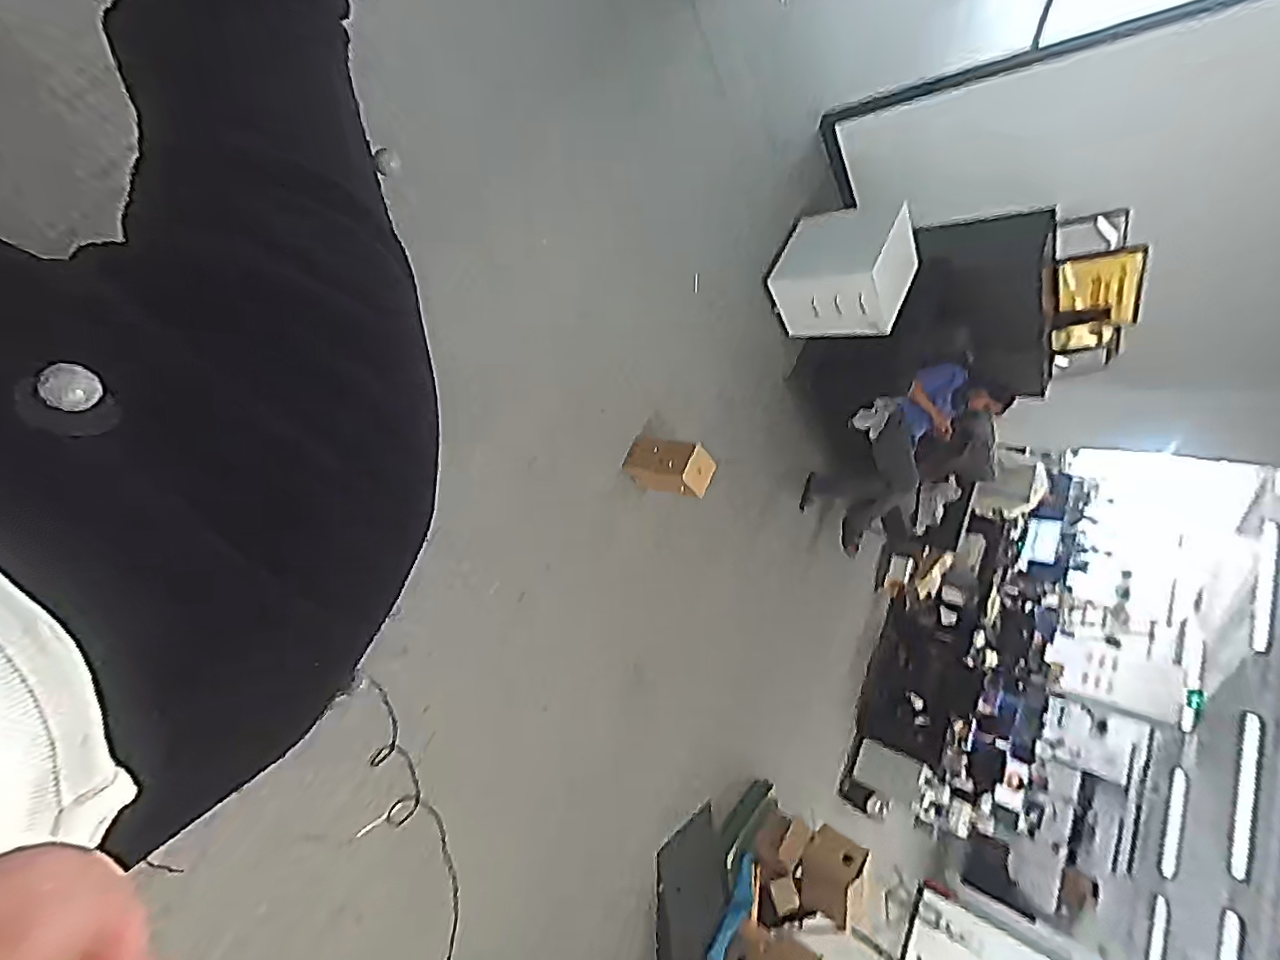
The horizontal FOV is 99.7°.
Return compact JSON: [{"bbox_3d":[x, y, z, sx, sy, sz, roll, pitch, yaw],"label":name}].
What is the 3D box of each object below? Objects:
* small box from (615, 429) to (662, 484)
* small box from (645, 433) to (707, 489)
[{"bbox_3d":[0.025,-0.108,2.352,0.179,0.176,0.168,46,64,-44],"label":"small box"},{"bbox_3d":[0.147,-0.084,2.248,0.179,0.176,0.168,44,66,-46],"label":"small box"}]
